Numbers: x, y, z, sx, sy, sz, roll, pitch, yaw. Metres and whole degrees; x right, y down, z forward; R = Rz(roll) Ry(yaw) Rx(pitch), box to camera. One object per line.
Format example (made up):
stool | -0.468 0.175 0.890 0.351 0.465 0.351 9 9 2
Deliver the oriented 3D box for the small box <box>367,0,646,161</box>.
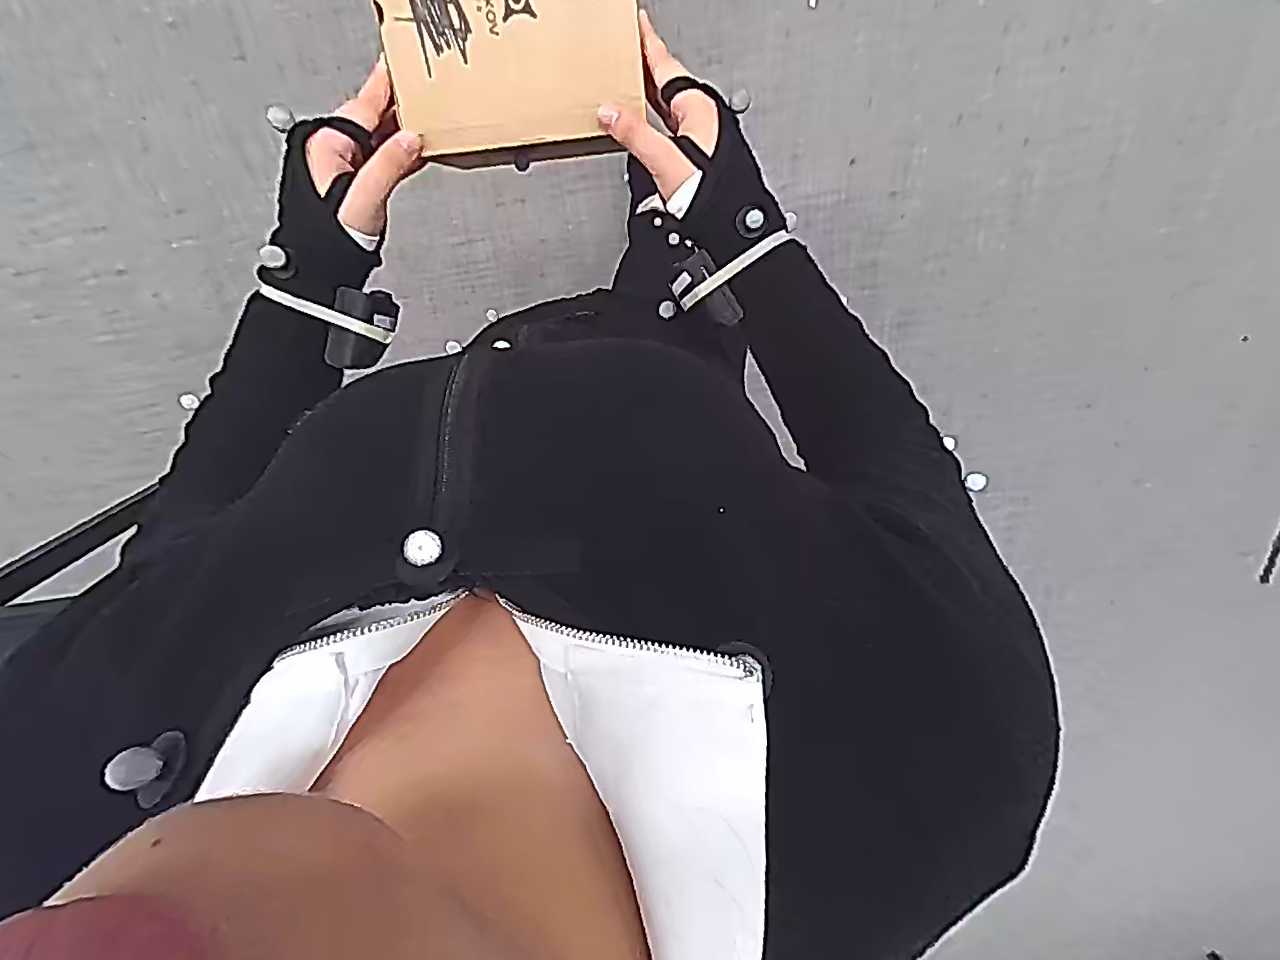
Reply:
small box | -0.092 -0.352 0.414 0.179 0.176 0.168 -7 117 0
